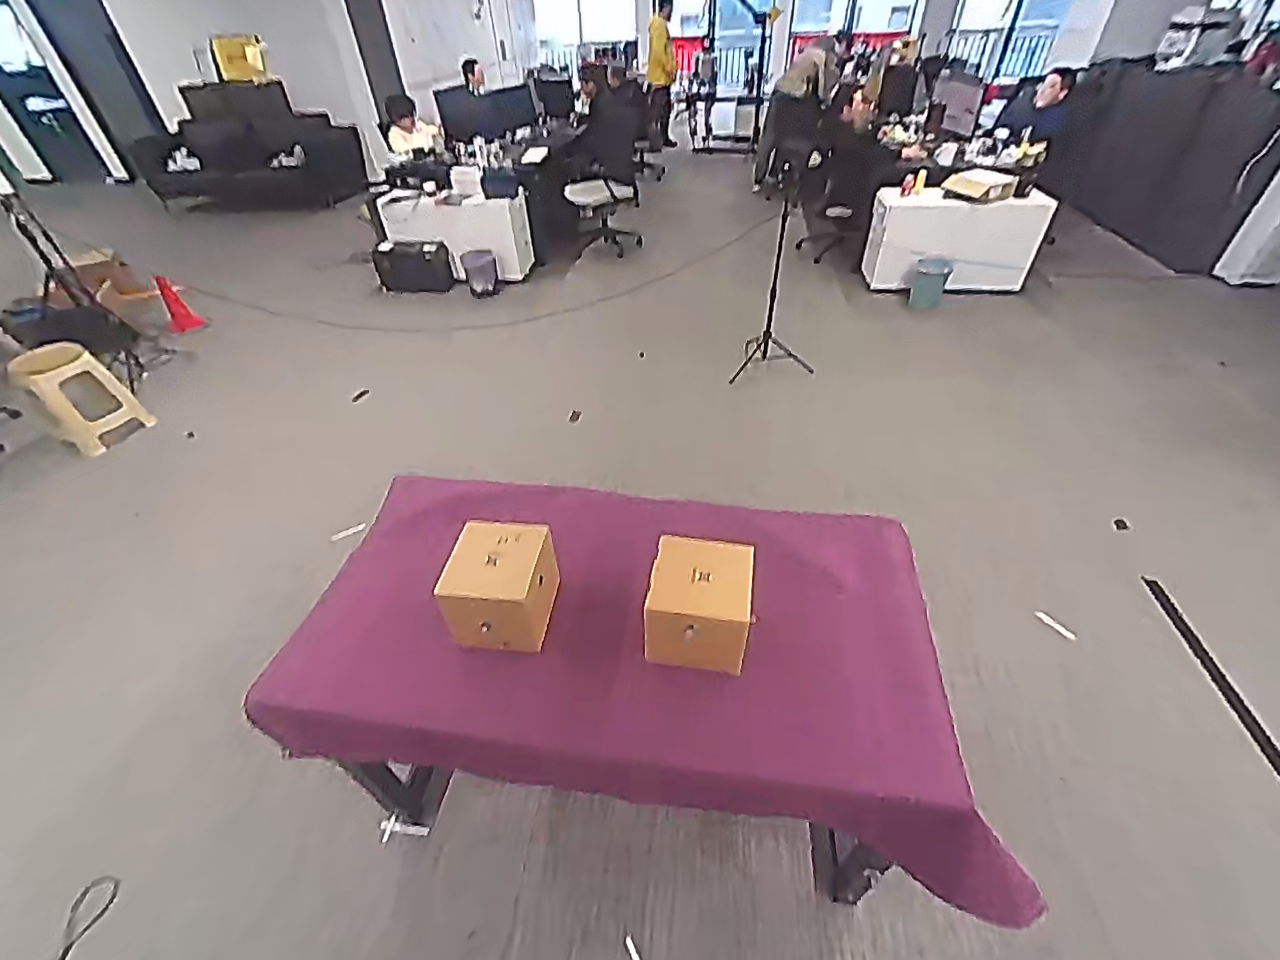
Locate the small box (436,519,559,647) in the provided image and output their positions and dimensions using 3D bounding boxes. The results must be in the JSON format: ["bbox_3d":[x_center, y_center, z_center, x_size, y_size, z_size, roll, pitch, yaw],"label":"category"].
[{"bbox_3d":[-0.258,0.198,1.034,0.168,0.176,0.179,4,42,6],"label":"small box"}]

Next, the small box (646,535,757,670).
[{"bbox_3d":[0.113,0.226,0.989,0.179,0.176,0.168,6,43,10],"label":"small box"}]
